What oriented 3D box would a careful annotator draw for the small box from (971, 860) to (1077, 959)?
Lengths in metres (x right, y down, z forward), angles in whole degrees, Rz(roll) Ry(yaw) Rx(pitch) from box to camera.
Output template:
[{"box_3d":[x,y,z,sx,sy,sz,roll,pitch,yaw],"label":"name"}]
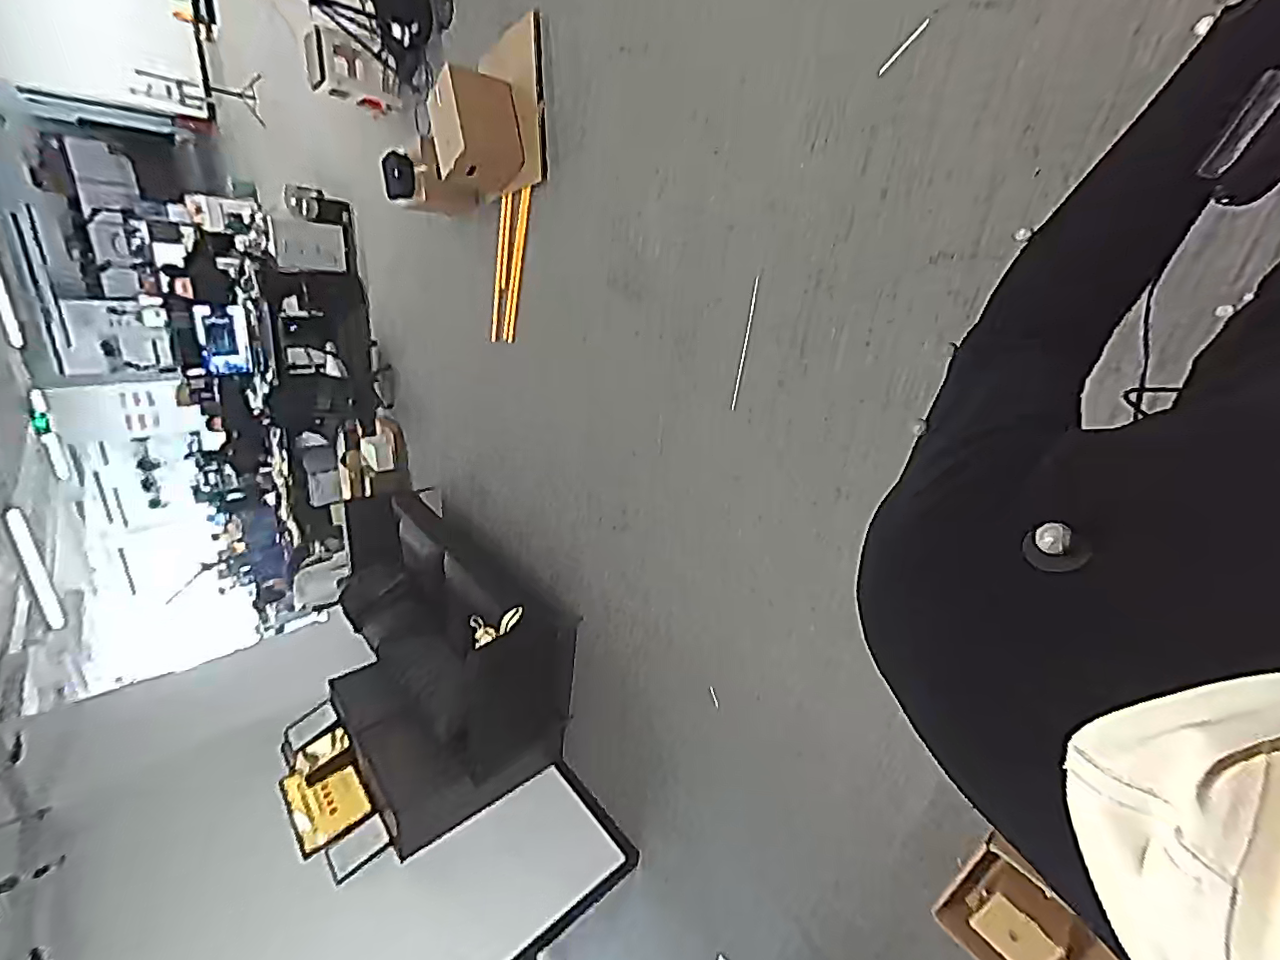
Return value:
[{"box_3d":[1.068,1.217,1.500,0.168,0.176,0.179,36,126,37],"label":"small box"}]
